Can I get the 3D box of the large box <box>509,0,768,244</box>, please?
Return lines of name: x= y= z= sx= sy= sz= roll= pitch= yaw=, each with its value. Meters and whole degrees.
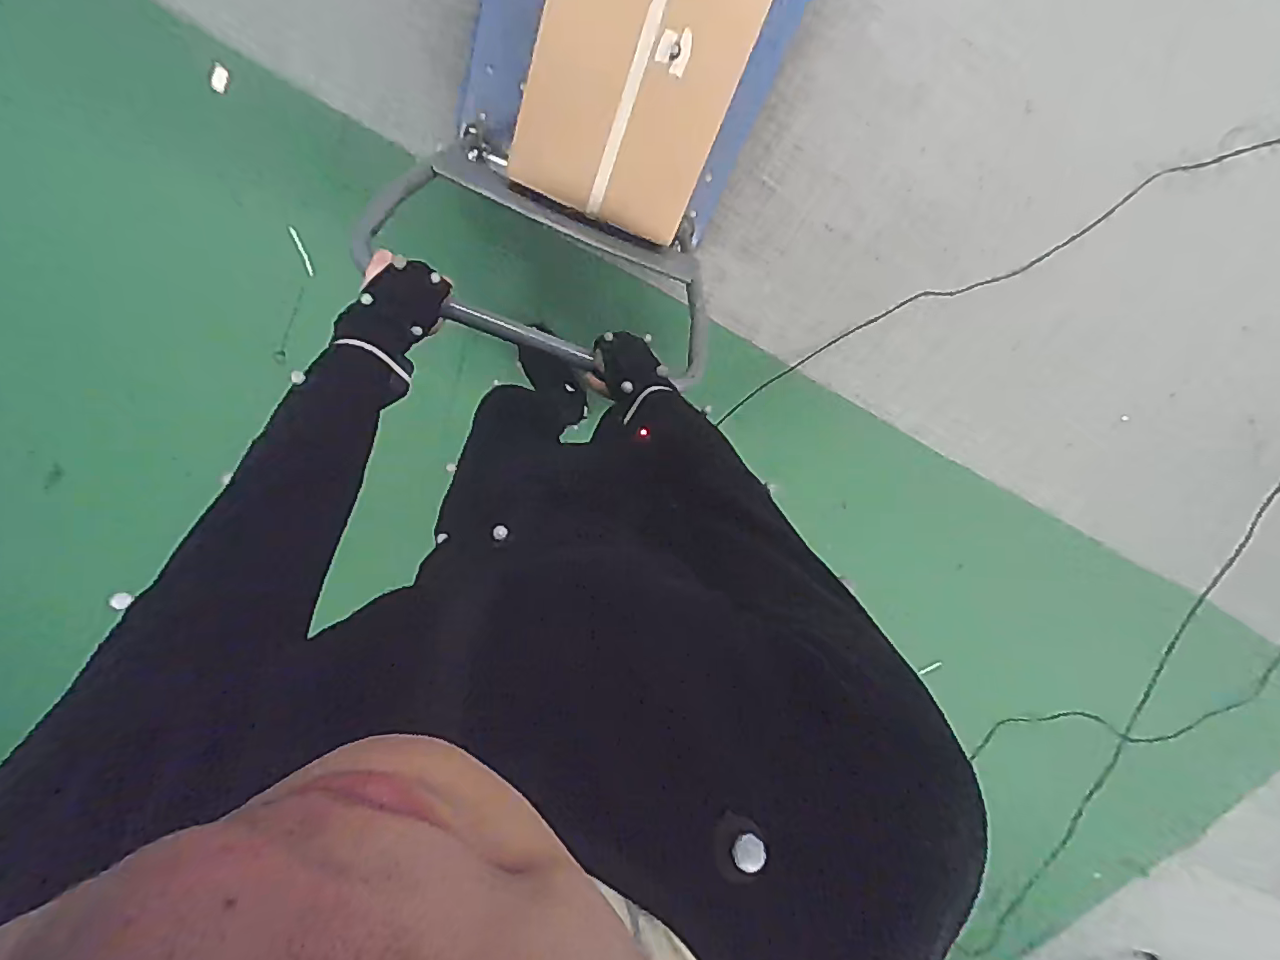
large box: x=-0.016 y=-0.715 z=0.988 sx=0.320 sy=0.320 sz=0.408 roll=18 pitch=123 yaw=-14
